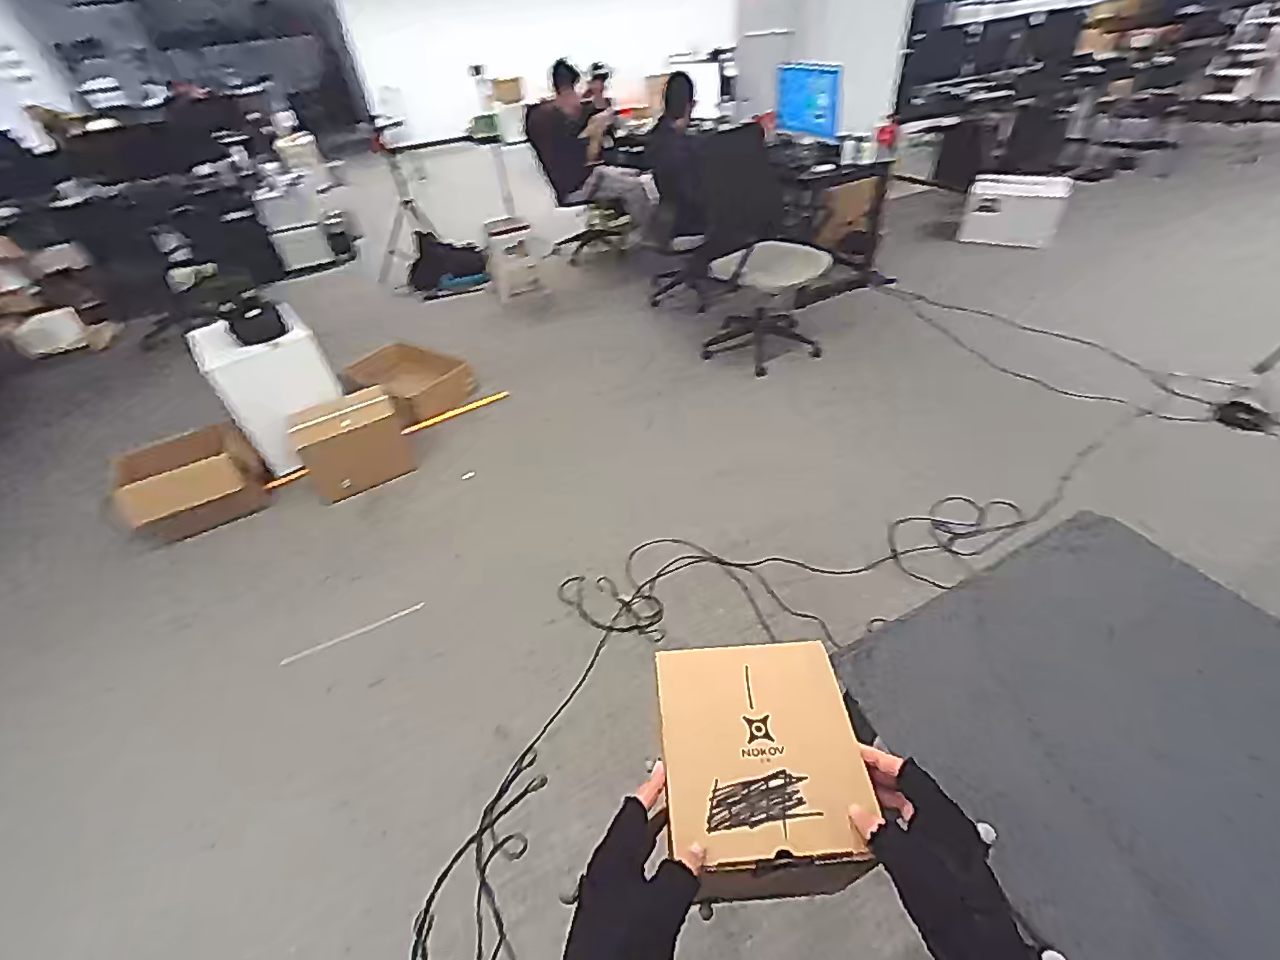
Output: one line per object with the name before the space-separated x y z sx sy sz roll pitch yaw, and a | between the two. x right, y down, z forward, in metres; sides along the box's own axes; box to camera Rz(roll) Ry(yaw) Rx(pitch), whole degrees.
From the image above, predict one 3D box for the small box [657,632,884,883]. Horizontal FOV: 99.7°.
small box | 0.103 0.269 0.519 0.168 0.176 0.179 -2 44 -1
